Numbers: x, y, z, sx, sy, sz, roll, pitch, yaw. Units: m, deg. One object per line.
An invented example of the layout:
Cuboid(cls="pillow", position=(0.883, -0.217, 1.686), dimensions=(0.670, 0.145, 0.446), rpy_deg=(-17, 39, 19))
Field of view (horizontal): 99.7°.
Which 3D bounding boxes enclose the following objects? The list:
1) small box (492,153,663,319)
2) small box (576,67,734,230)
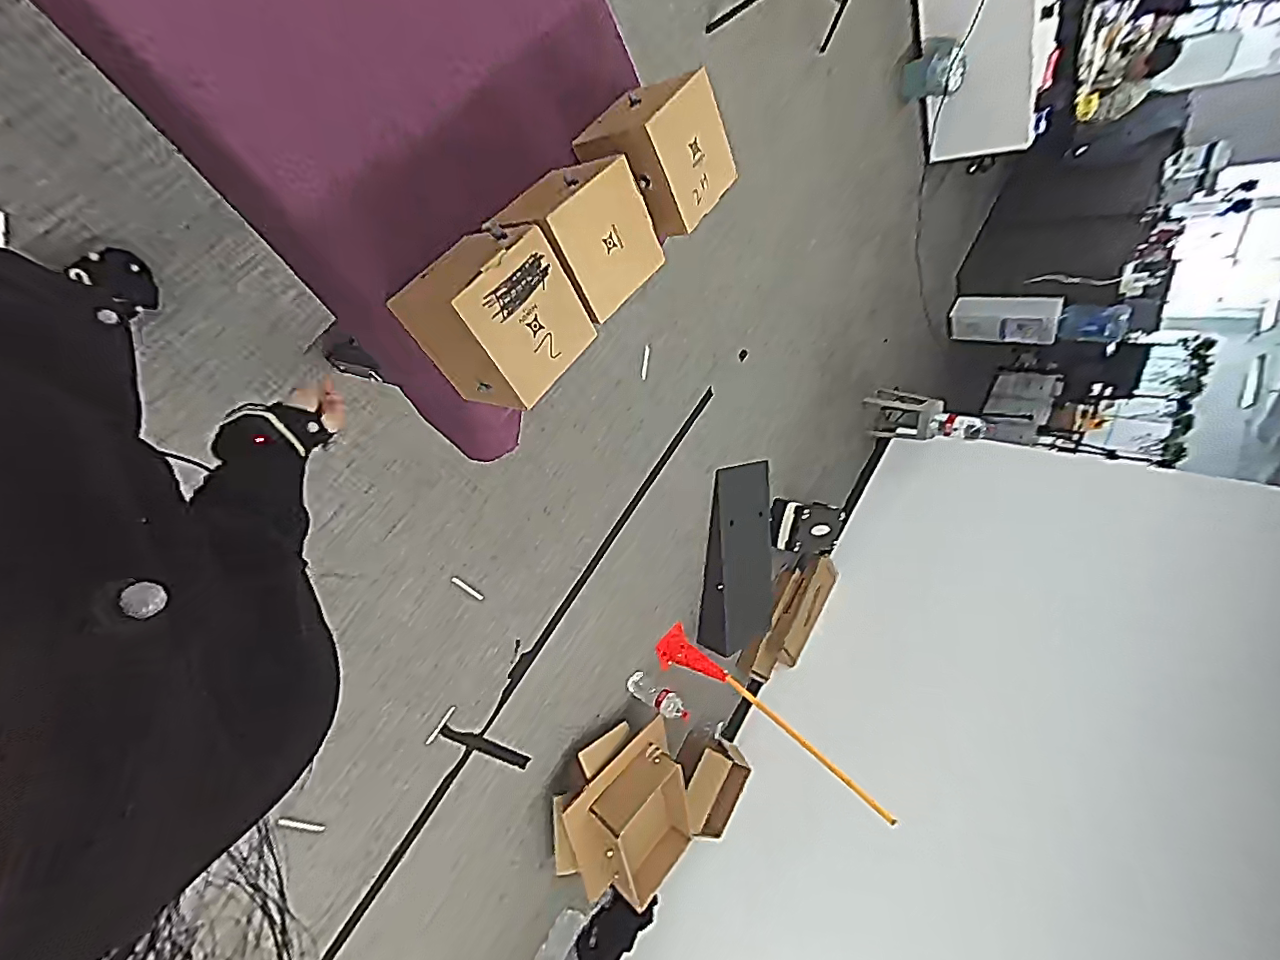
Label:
Cuboid(cls="small box", position=(-0.101, -0.366, 0.835), dimensions=(0.179, 0.176, 0.168), rpy_deg=(-52, 135, -23))
Cuboid(cls="small box", position=(0.025, -0.537, 0.904), dimensions=(0.168, 0.176, 0.179), rpy_deg=(-53, 137, -19))
